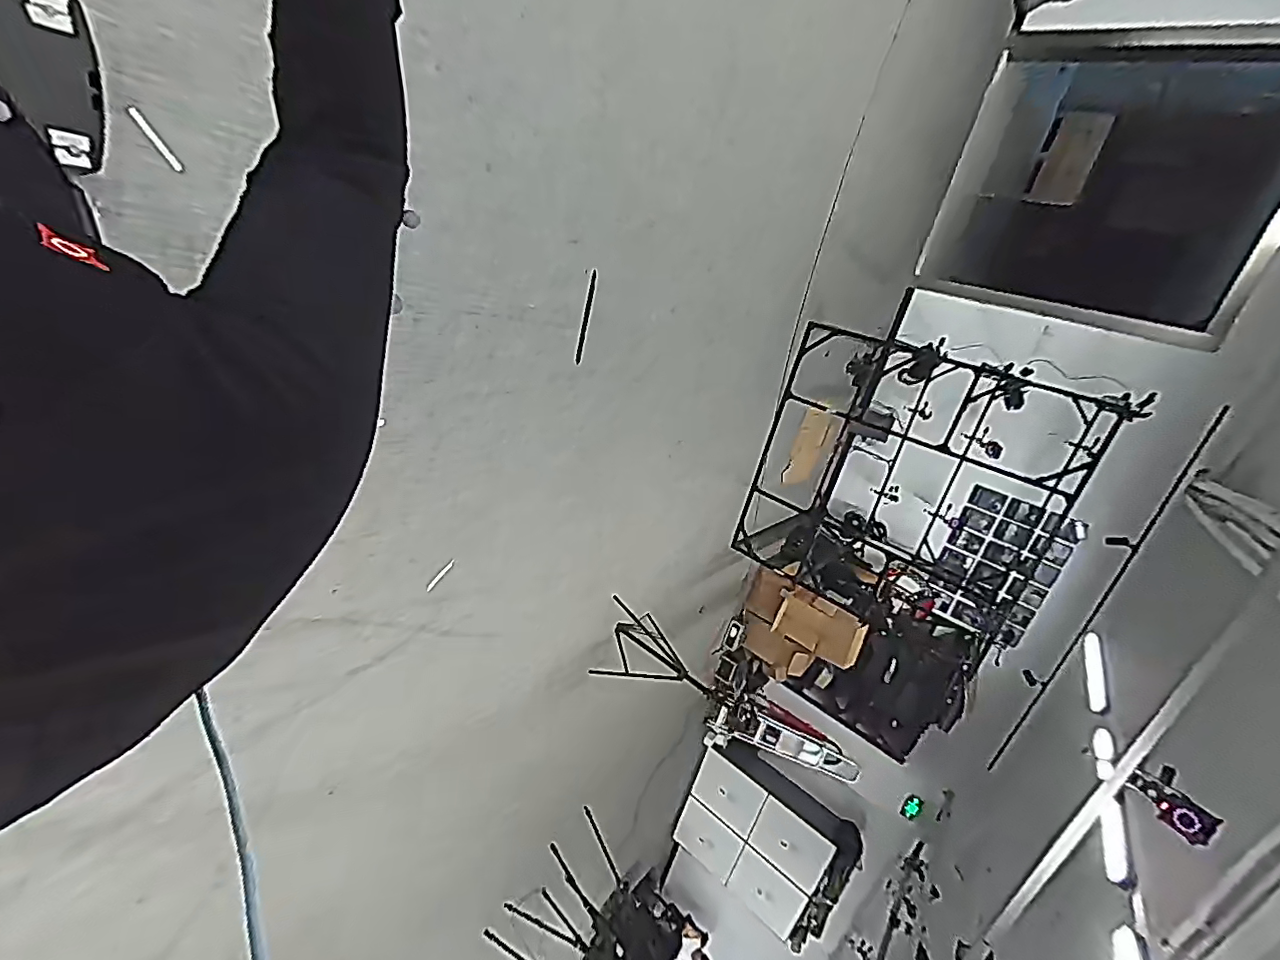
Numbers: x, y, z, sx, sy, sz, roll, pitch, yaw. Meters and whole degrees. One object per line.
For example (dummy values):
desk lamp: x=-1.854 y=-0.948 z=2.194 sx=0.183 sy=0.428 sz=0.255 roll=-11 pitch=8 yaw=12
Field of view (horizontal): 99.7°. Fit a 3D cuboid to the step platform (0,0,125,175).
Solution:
step platform: x=-1.178 y=-0.659 z=0.740 sx=0.684 sy=0.204 sz=0.286 roll=-16 pitch=127 yaw=-52
